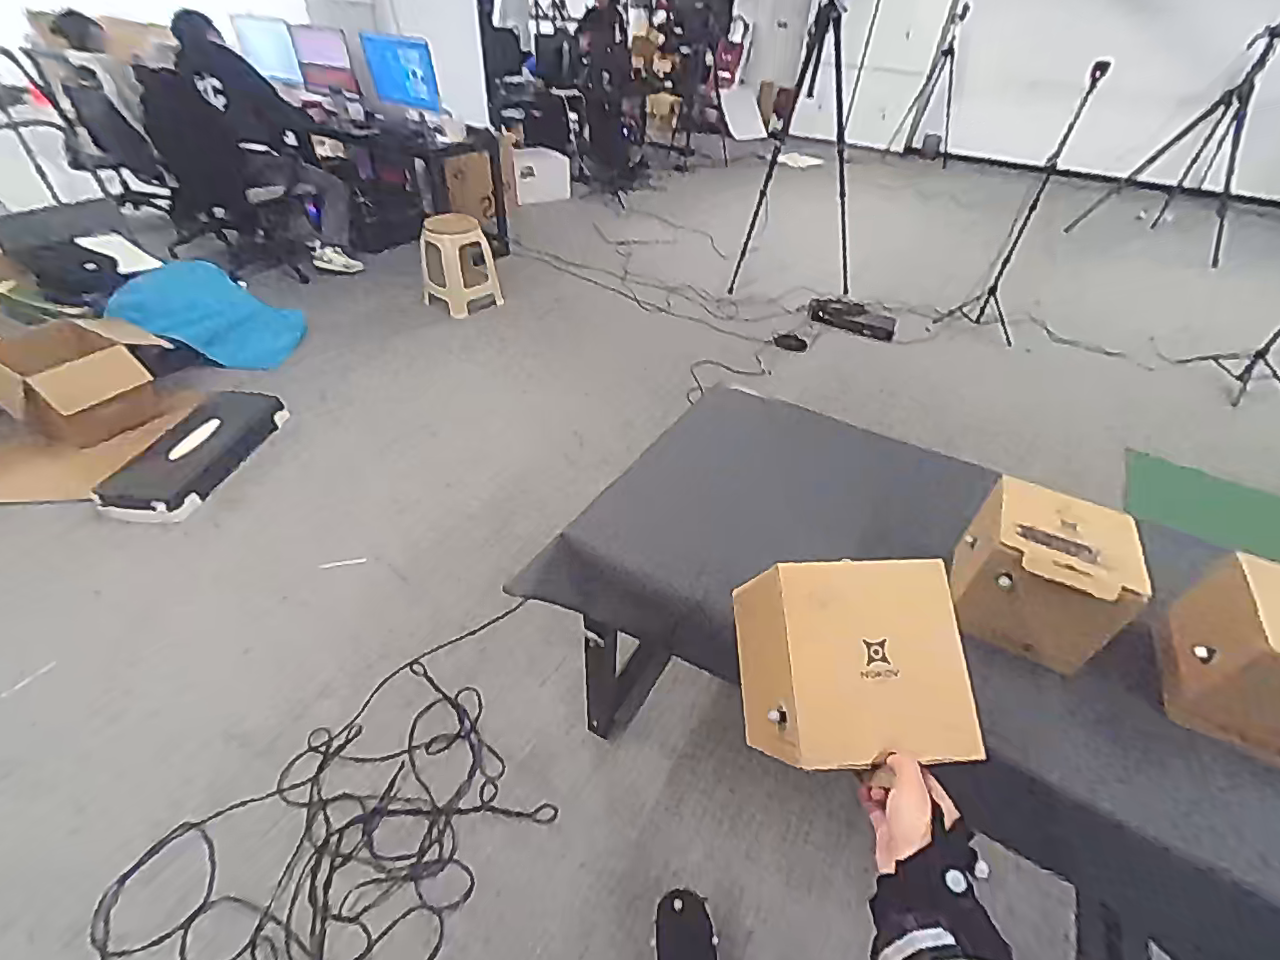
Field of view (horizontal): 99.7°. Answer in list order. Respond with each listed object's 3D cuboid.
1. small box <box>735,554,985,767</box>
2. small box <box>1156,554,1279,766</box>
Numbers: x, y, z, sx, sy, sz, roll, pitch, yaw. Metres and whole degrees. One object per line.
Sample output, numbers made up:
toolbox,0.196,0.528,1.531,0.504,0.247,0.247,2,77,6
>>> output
small box,0.202,0.179,0.553,0.168,0.176,0.179,-1,72,-6
small box,0.793,0.232,0.665,0.168,0.176,0.179,24,43,20
